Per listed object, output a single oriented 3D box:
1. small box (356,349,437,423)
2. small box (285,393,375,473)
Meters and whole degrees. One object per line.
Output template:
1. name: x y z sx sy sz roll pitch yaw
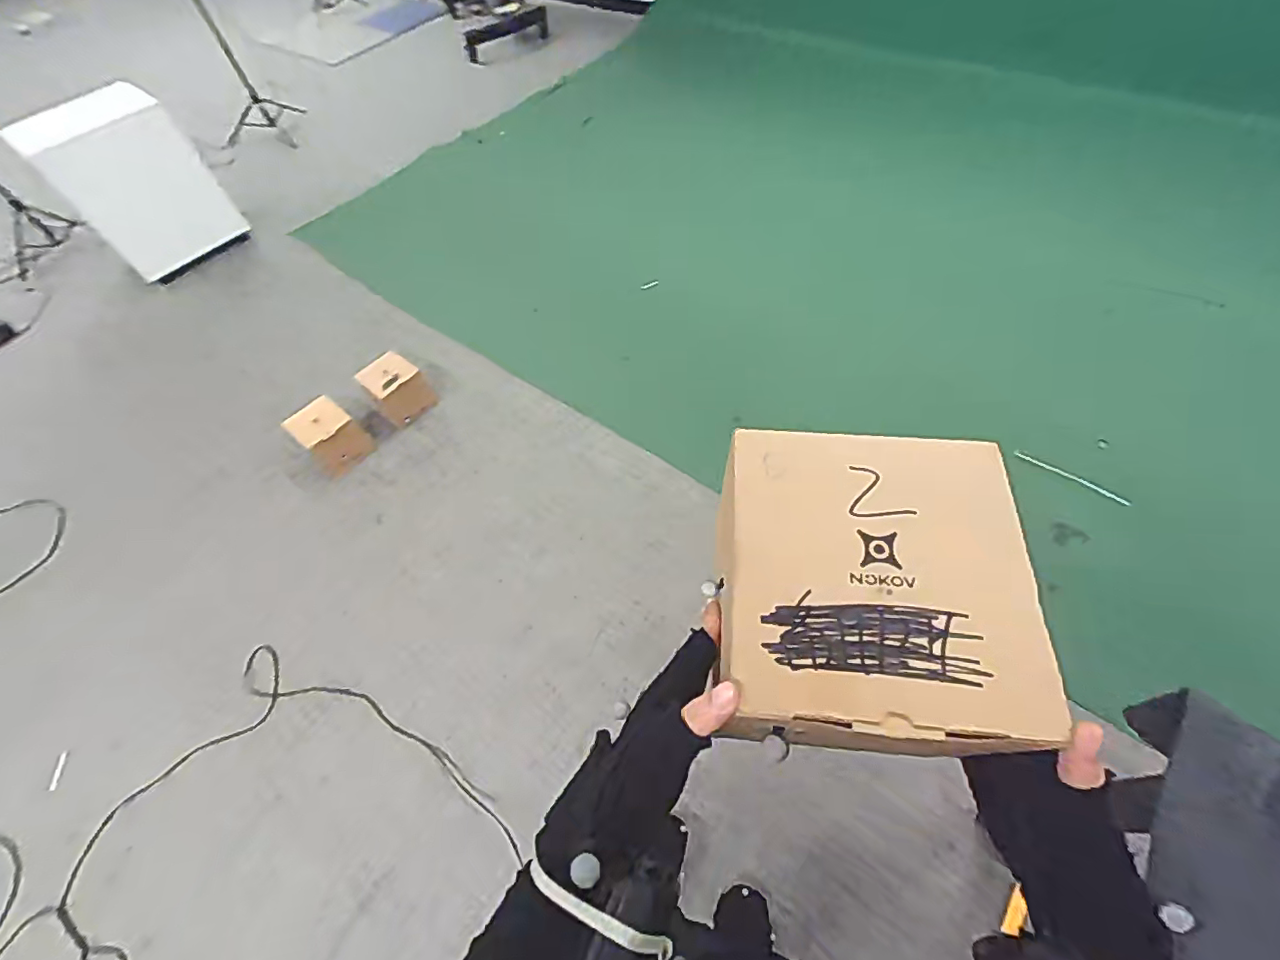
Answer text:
1. small box: -0.861 -0.327 1.929 0.179 0.176 0.168 34 65 24
2. small box: -1.044 -0.155 1.832 0.179 0.176 0.168 35 66 23
